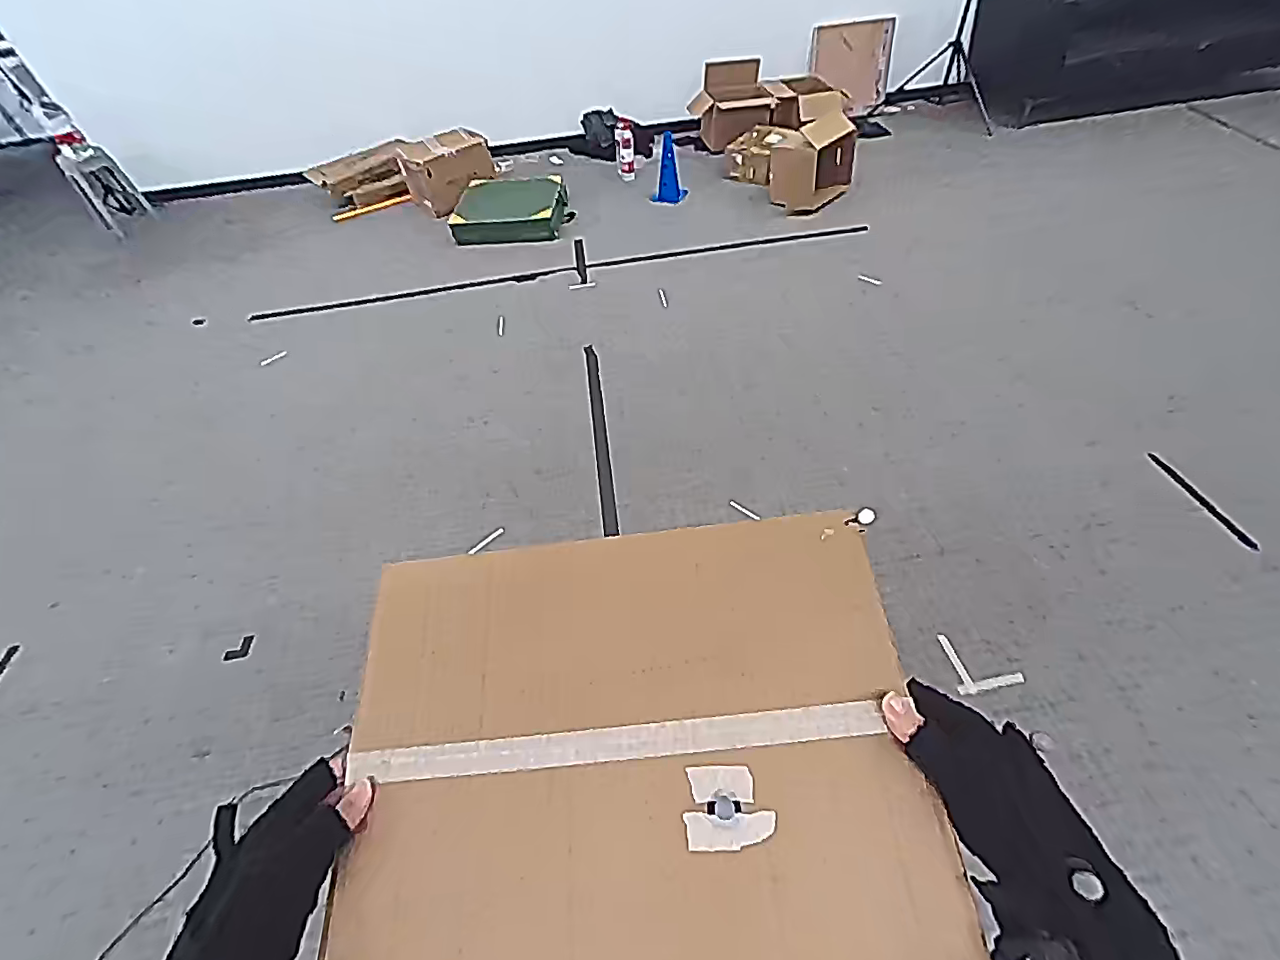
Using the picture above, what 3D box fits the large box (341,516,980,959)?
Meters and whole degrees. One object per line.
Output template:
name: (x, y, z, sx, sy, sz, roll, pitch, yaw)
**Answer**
large box: (0.006, 0.263, 0.525, 0.408, 0.320, 0.320, -8, 61, 3)
